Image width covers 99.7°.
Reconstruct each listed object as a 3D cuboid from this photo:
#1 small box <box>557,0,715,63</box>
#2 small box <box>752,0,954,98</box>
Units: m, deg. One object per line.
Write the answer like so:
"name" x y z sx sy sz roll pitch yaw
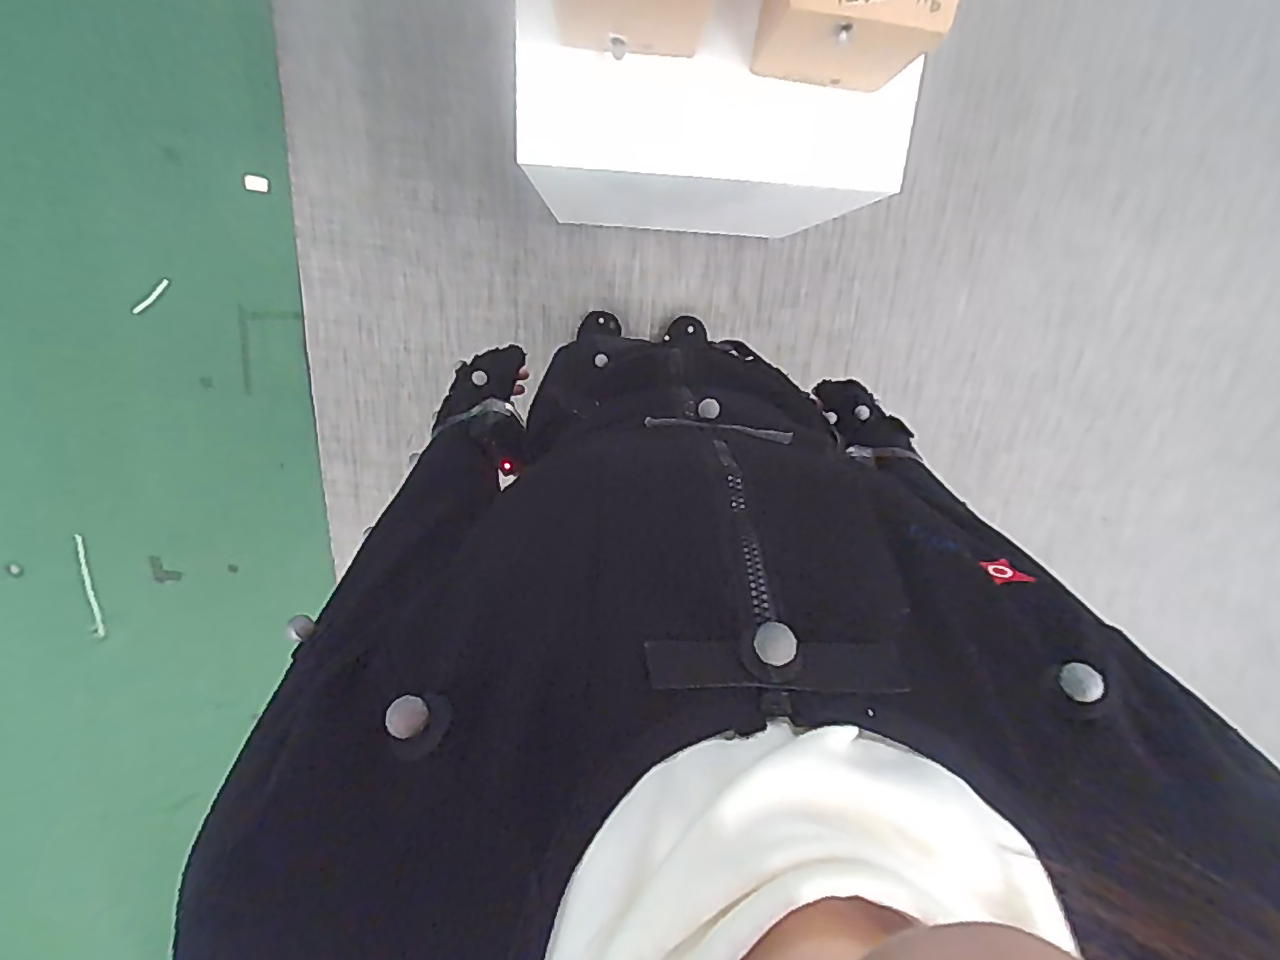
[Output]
"small box" -0.005 -0.579 0.566 0.168 0.176 0.179 1 109 -2
"small box" 0.229 -0.553 0.582 0.168 0.176 0.179 7 107 -4
